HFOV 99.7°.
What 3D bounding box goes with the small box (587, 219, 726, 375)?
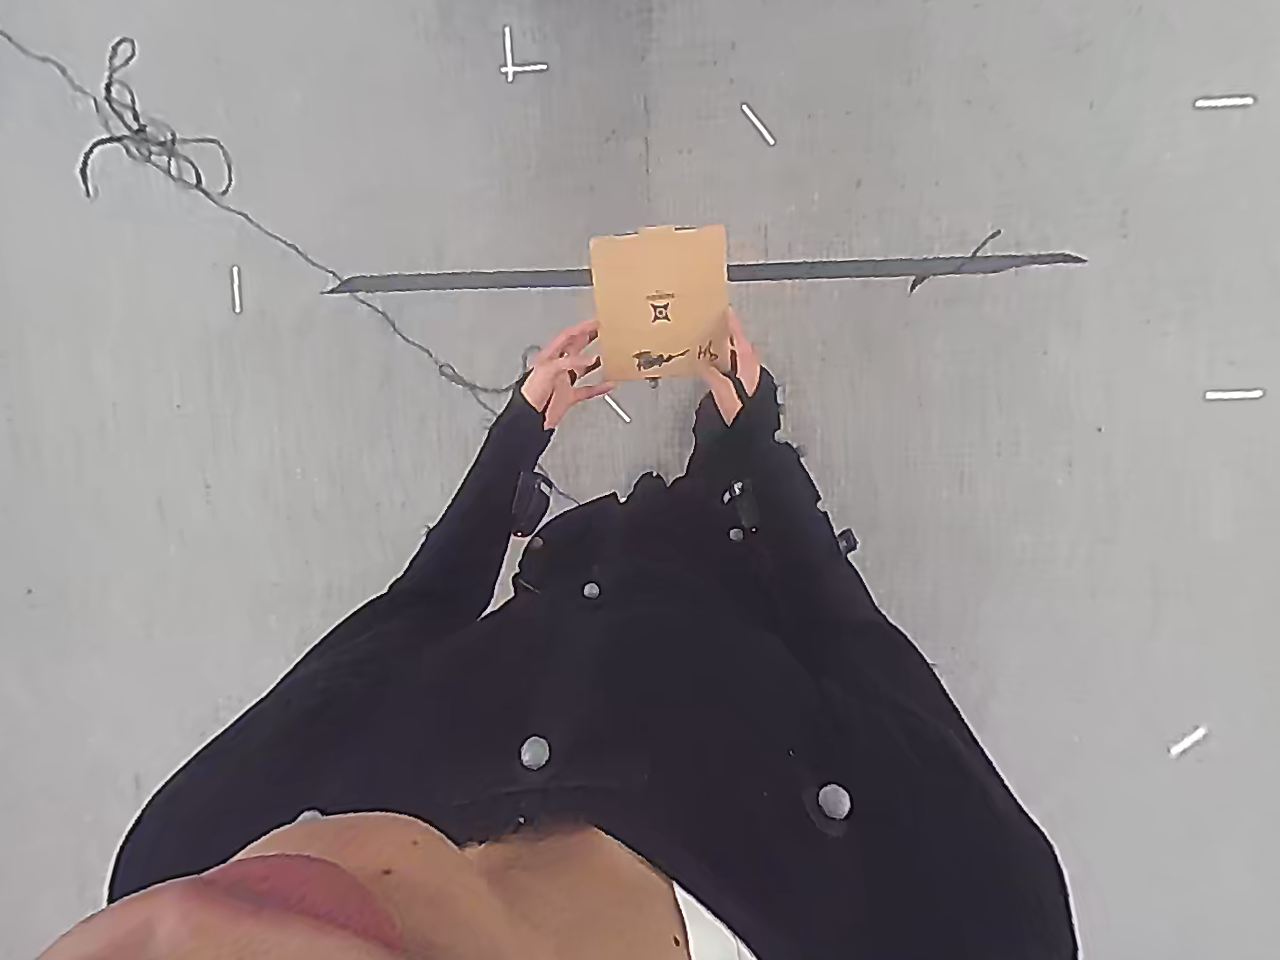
[{"bbox_3d":[0.027,-0.241,0.746,0.168,0.176,0.179,-4,103,6],"label":"small box"}]
